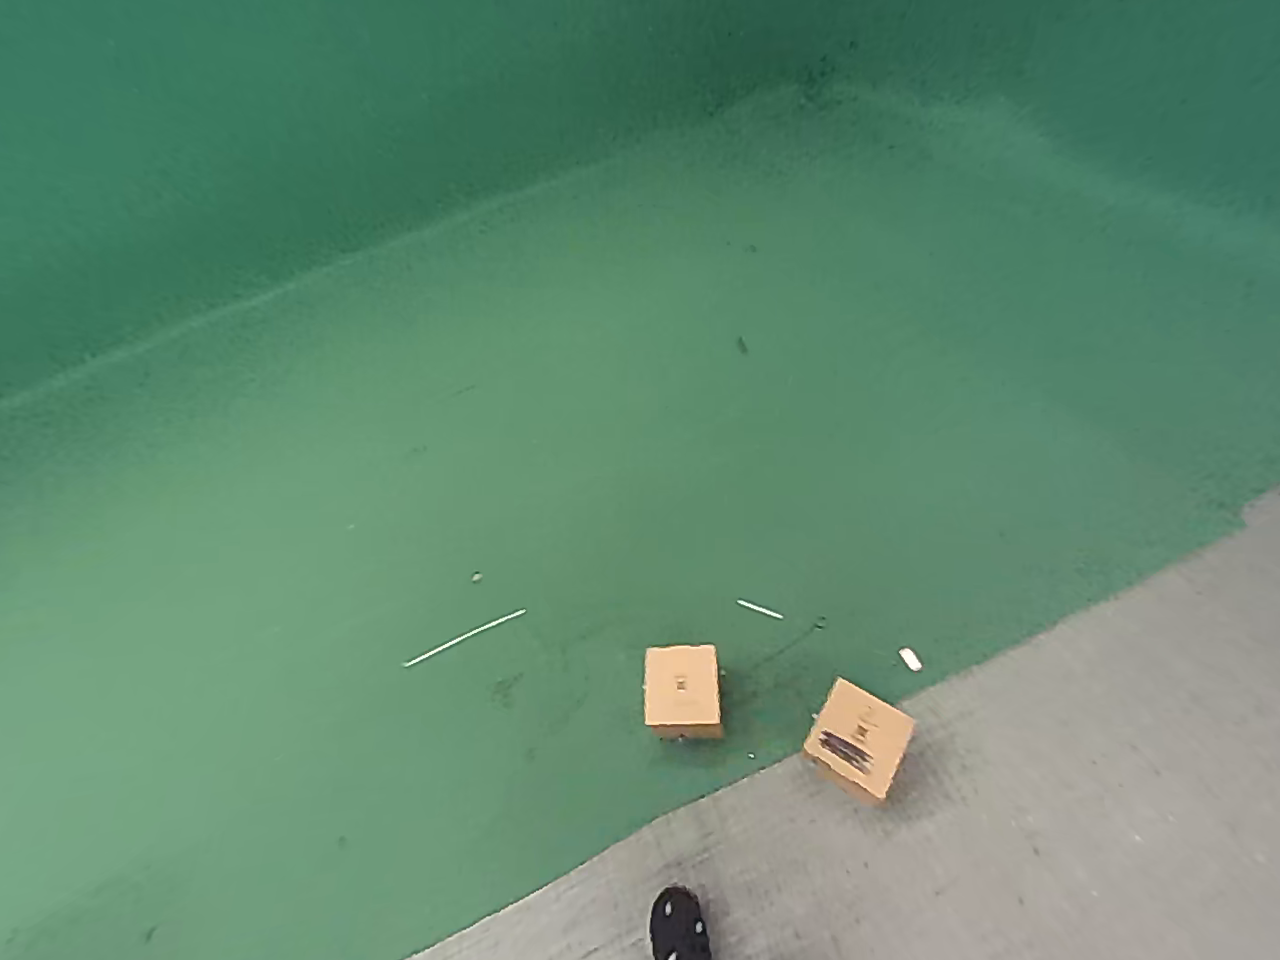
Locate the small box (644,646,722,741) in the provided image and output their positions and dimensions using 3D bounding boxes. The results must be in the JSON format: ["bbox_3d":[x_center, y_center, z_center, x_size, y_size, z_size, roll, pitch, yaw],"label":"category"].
[{"bbox_3d":[0.107,0.515,1.300,0.168,0.176,0.179,-5,54,10],"label":"small box"}]
